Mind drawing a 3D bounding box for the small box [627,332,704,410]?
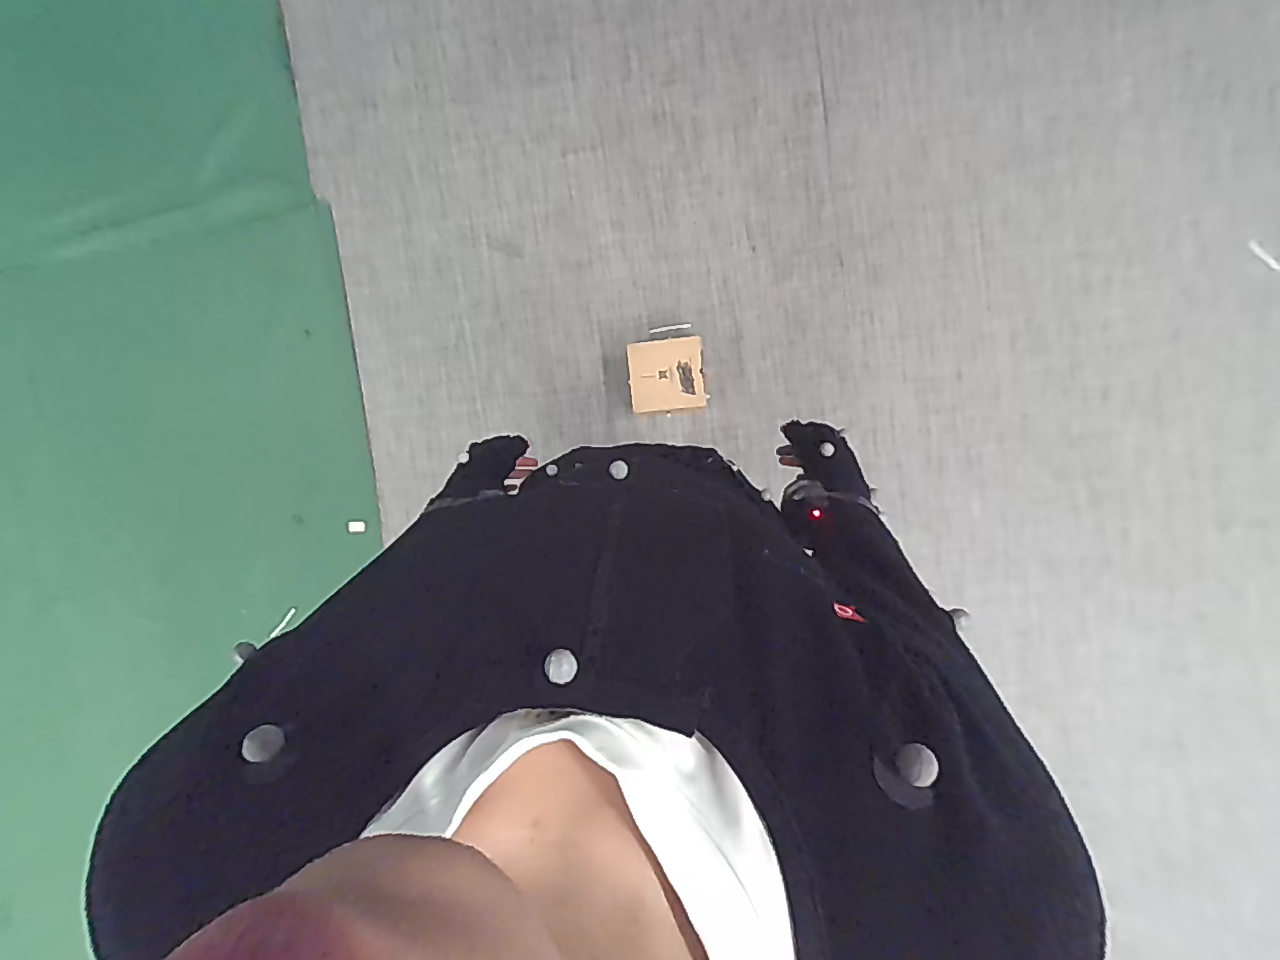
[{"bbox_3d":[0.067,-0.268,1.358,0.179,0.176,0.168,-5,93,7],"label":"small box"}]
